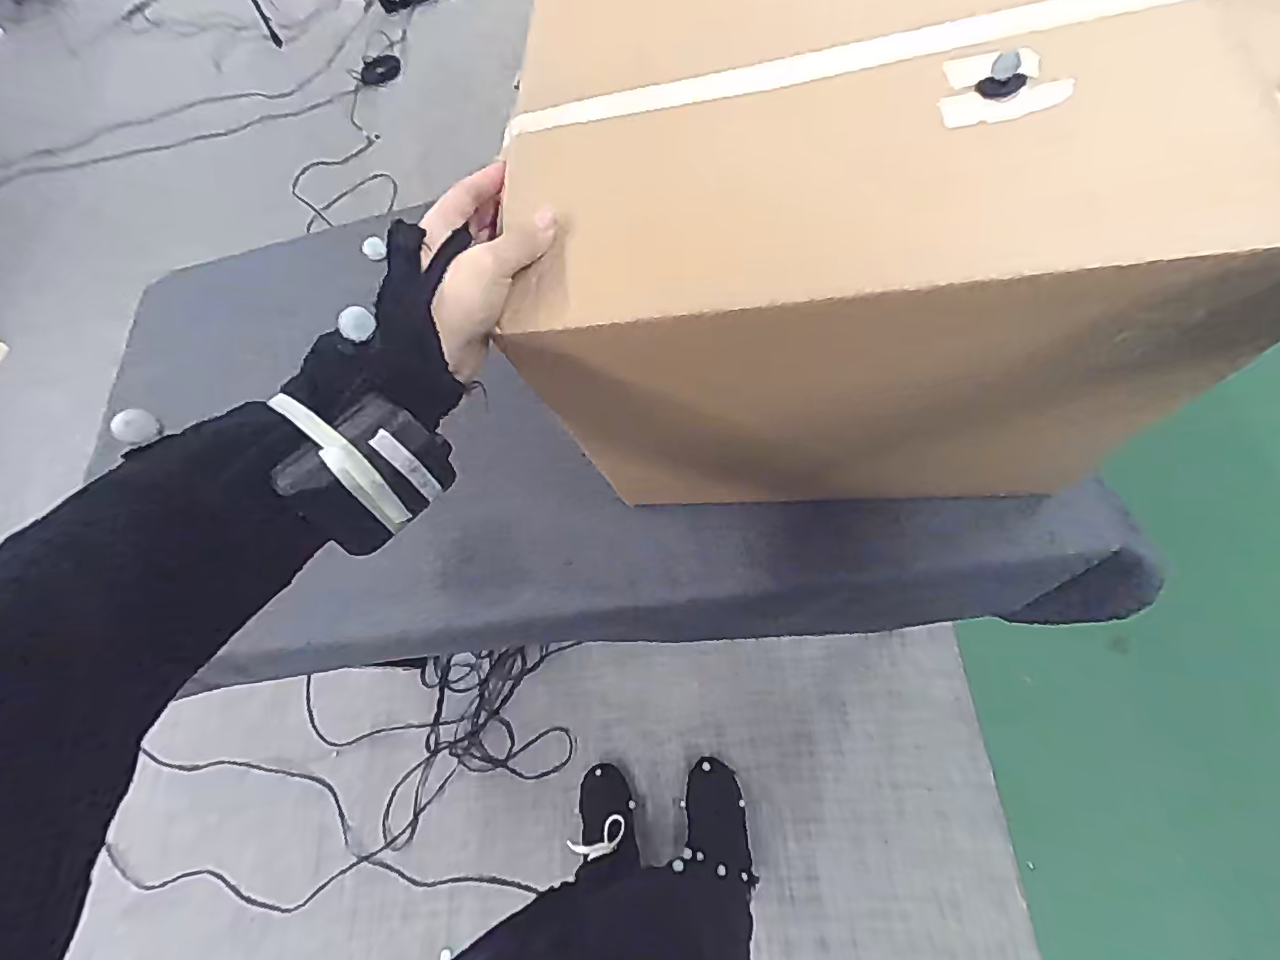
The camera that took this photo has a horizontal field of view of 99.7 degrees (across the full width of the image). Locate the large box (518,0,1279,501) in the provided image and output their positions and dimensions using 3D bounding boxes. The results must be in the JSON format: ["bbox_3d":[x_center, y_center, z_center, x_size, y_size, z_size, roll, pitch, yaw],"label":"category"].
[{"bbox_3d":[0.157,-0.180,0.448,0.408,0.320,0.320,-2,70,12],"label":"large box"}]
